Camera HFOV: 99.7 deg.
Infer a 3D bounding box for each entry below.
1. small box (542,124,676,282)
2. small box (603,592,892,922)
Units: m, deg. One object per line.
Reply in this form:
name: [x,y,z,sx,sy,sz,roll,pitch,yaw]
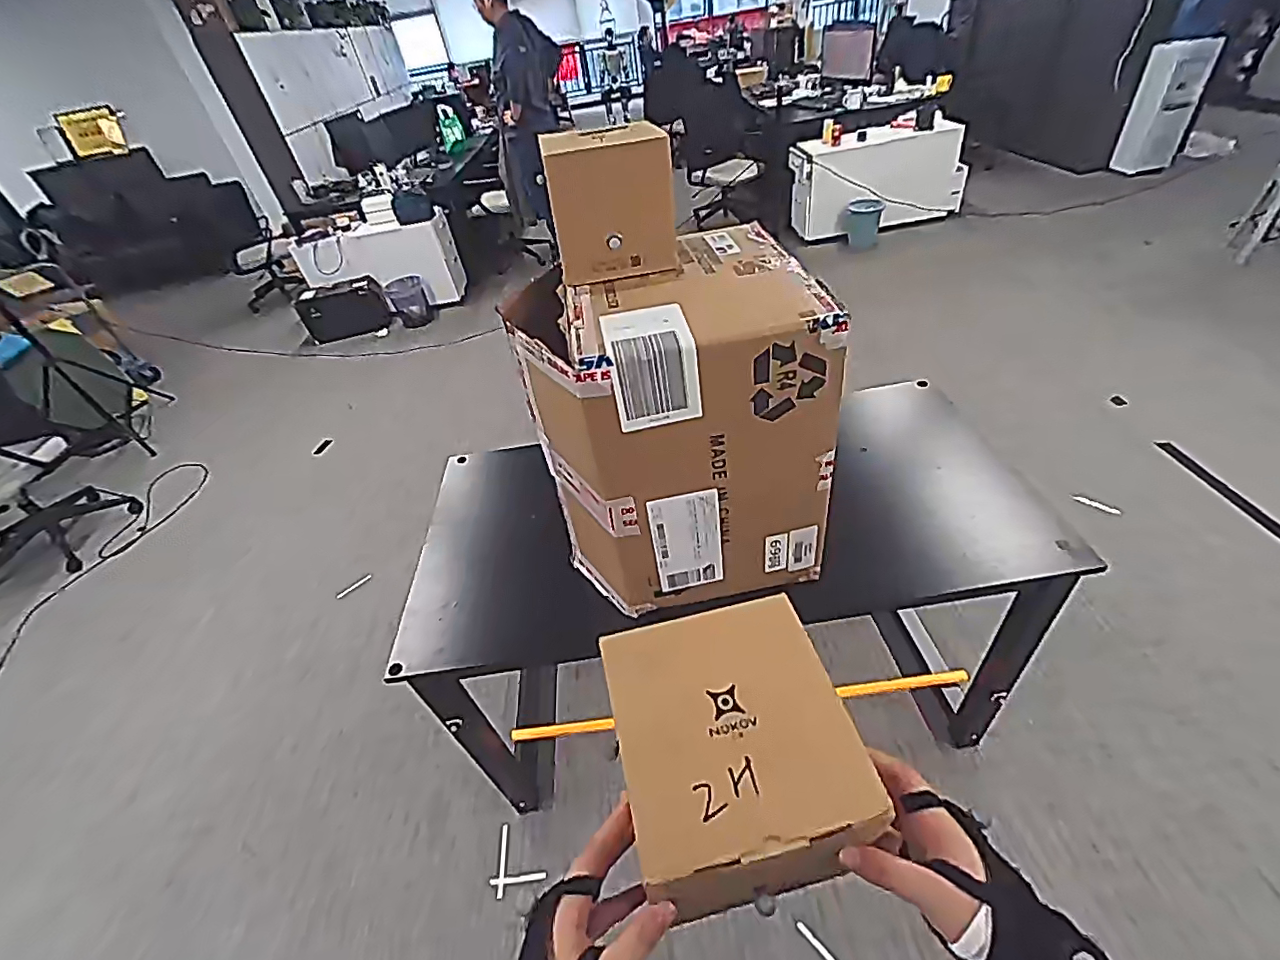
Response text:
small box: [-0.046,-0.407,0.792,0.168,0.176,0.179,-11,39,-3]
small box: [0.070,0.225,0.448,0.168,0.176,0.179,-12,43,-5]
